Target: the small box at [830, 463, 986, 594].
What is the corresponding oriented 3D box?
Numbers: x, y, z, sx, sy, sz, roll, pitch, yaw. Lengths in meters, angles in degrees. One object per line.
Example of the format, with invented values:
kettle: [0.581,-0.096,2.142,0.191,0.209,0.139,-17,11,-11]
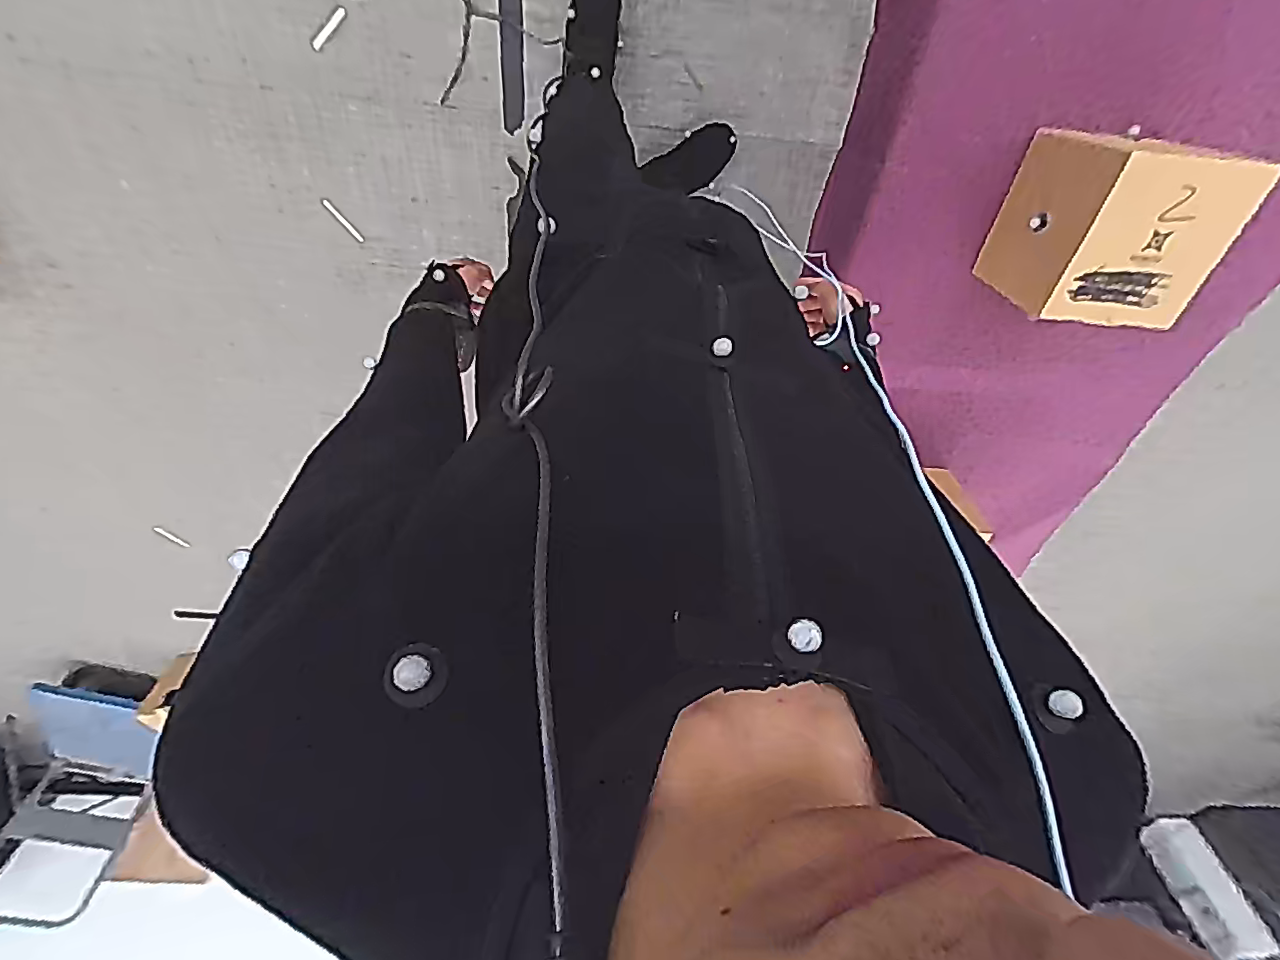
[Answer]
small box: [0.468,0.084,0.983,0.179,0.176,0.168,4,130,-4]
